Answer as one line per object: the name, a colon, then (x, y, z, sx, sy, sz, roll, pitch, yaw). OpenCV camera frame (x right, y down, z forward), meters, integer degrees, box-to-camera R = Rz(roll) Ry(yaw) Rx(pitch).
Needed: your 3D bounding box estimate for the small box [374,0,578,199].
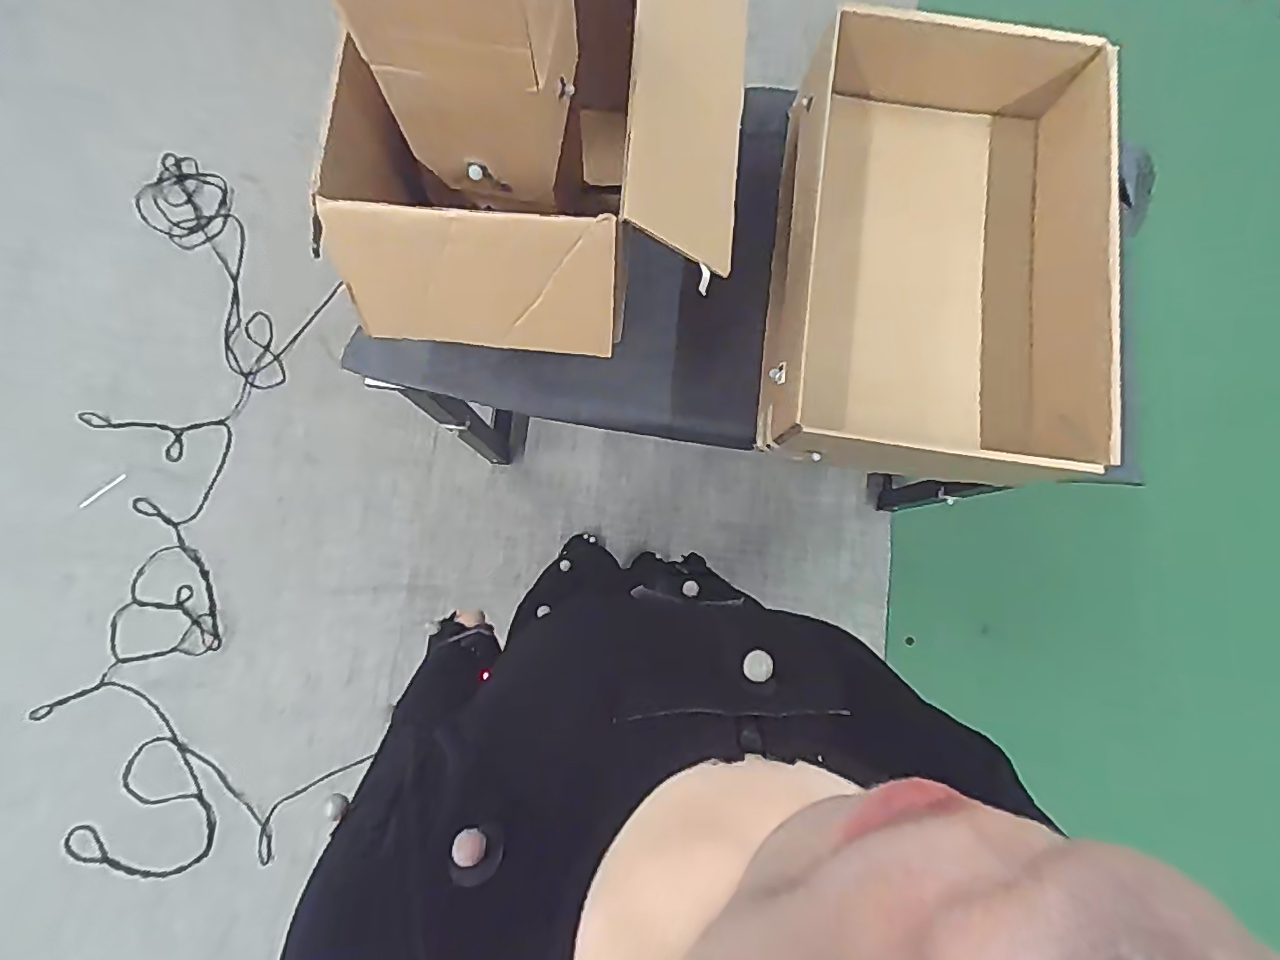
small box: (-0.166, -0.460, 0.610, 0.168, 0.176, 0.179, 9, 83, -1)

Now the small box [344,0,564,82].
small box: (-0.162, -0.479, 0.450, 0.179, 0.176, 0.168, 10, 82, -1)
